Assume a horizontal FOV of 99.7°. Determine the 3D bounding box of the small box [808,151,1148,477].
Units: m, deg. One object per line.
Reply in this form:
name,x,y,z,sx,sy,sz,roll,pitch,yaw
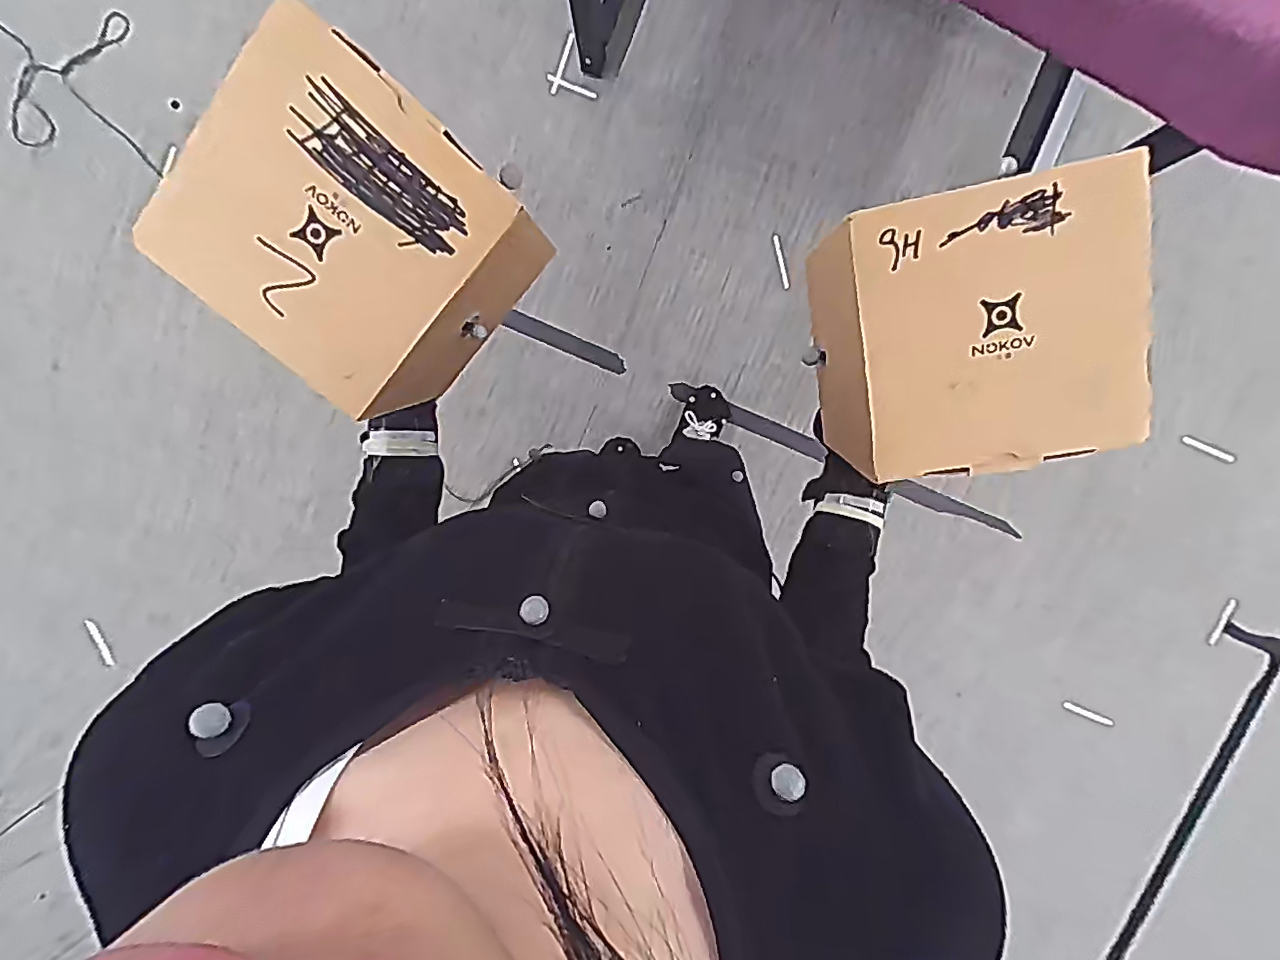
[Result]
small box,0.235,-0.115,0.418,0.168,0.176,0.179,-9,102,9
